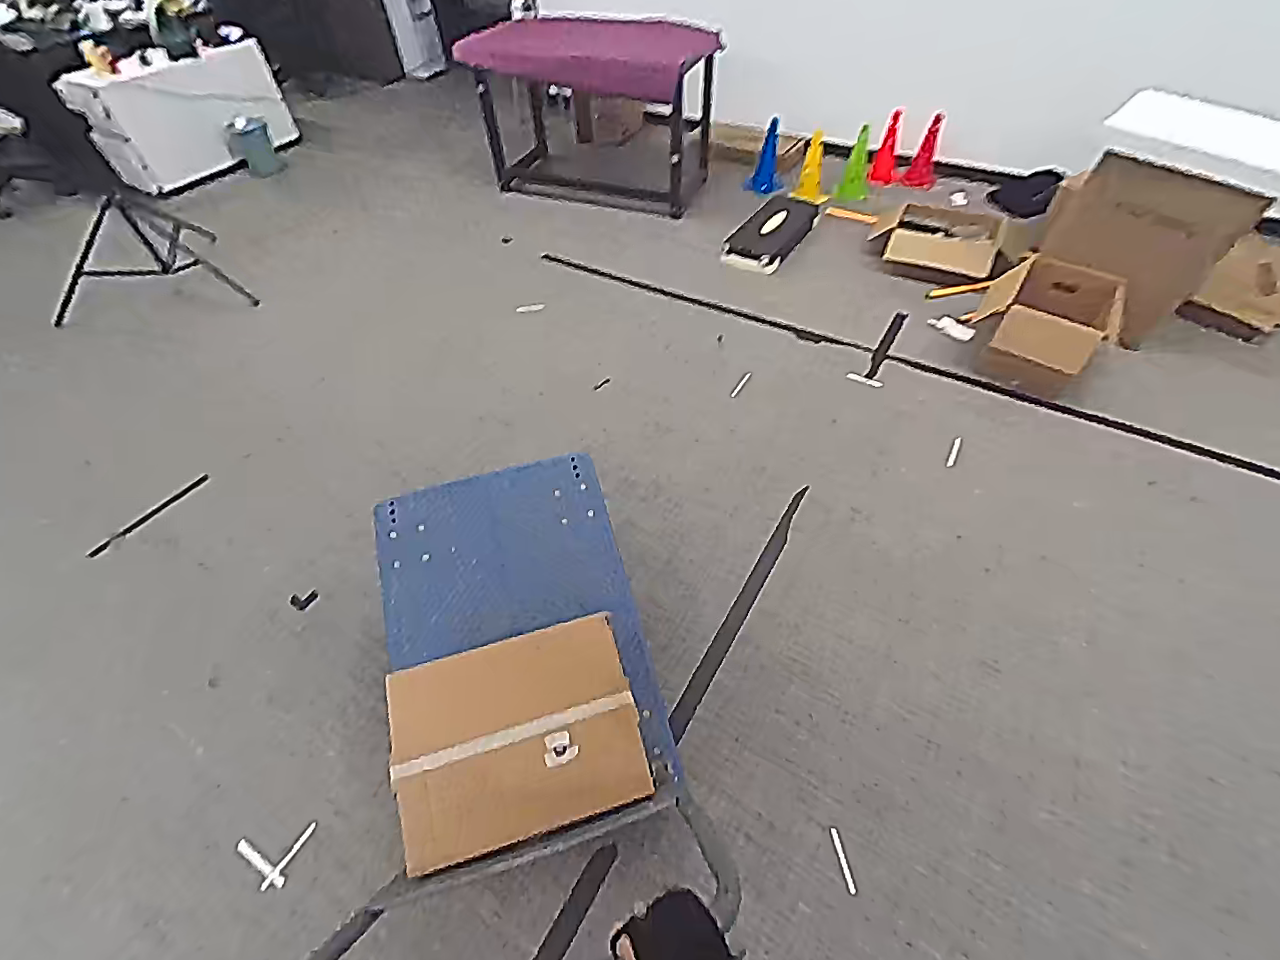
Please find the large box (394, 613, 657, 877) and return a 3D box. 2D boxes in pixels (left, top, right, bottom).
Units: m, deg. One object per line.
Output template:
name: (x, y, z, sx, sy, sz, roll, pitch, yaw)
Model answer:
large box: (-0.213, 0.502, 1.072, 0.408, 0.320, 0.320, -15, 68, -11)
